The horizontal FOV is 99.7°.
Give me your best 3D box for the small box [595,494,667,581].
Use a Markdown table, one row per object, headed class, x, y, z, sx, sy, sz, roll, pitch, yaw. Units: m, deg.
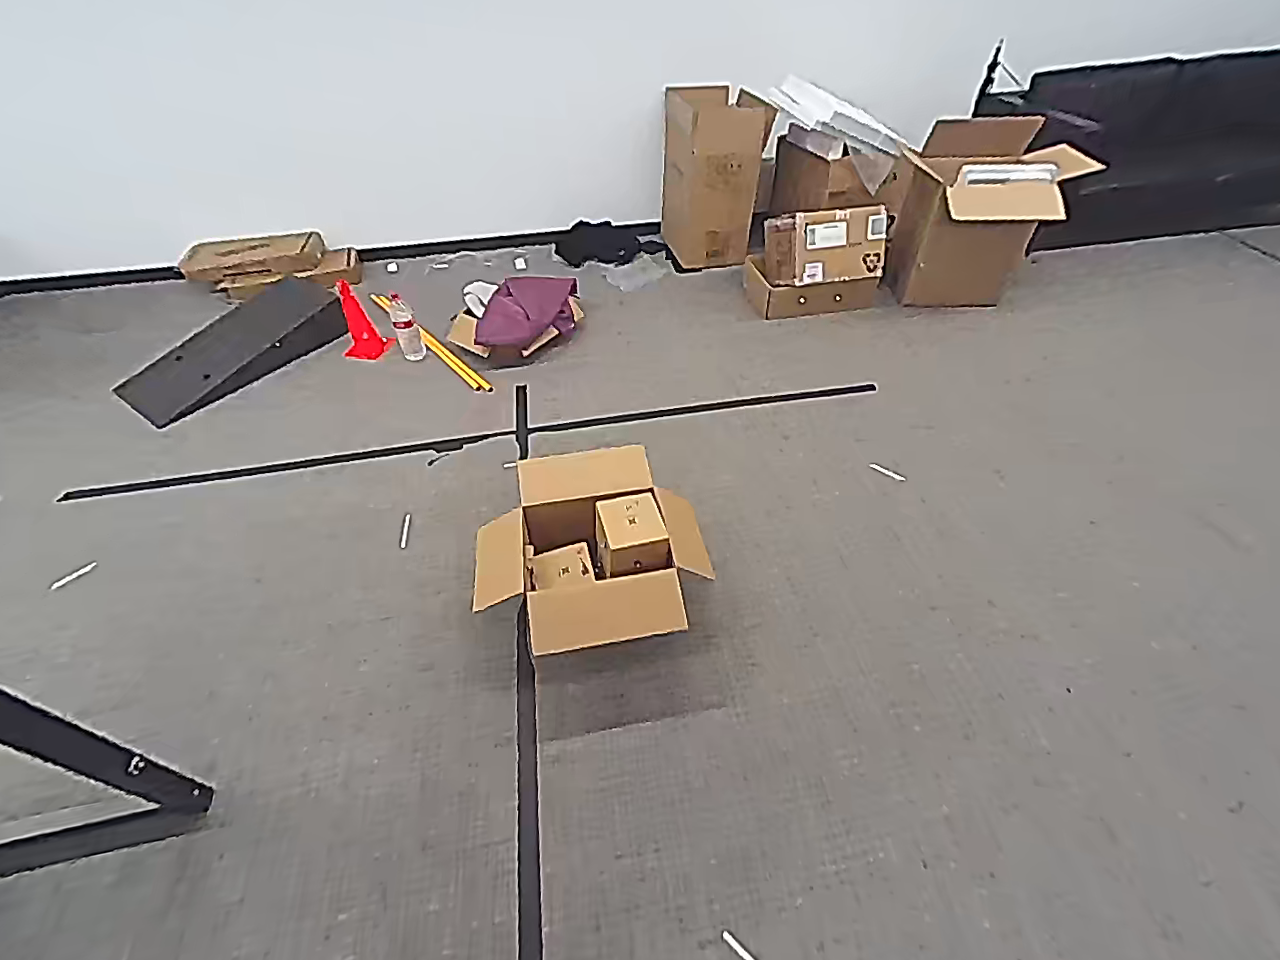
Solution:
| class | x | y | z | sx | sy | sz | roll | pitch | yaw |
| --- | --- | --- | --- | --- | --- | --- | --- | --- | --- |
| small box | -0.029 | 0.170 | 1.548 | 0.168 | 0.176 | 0.179 | -10 | 47 | -13 |
